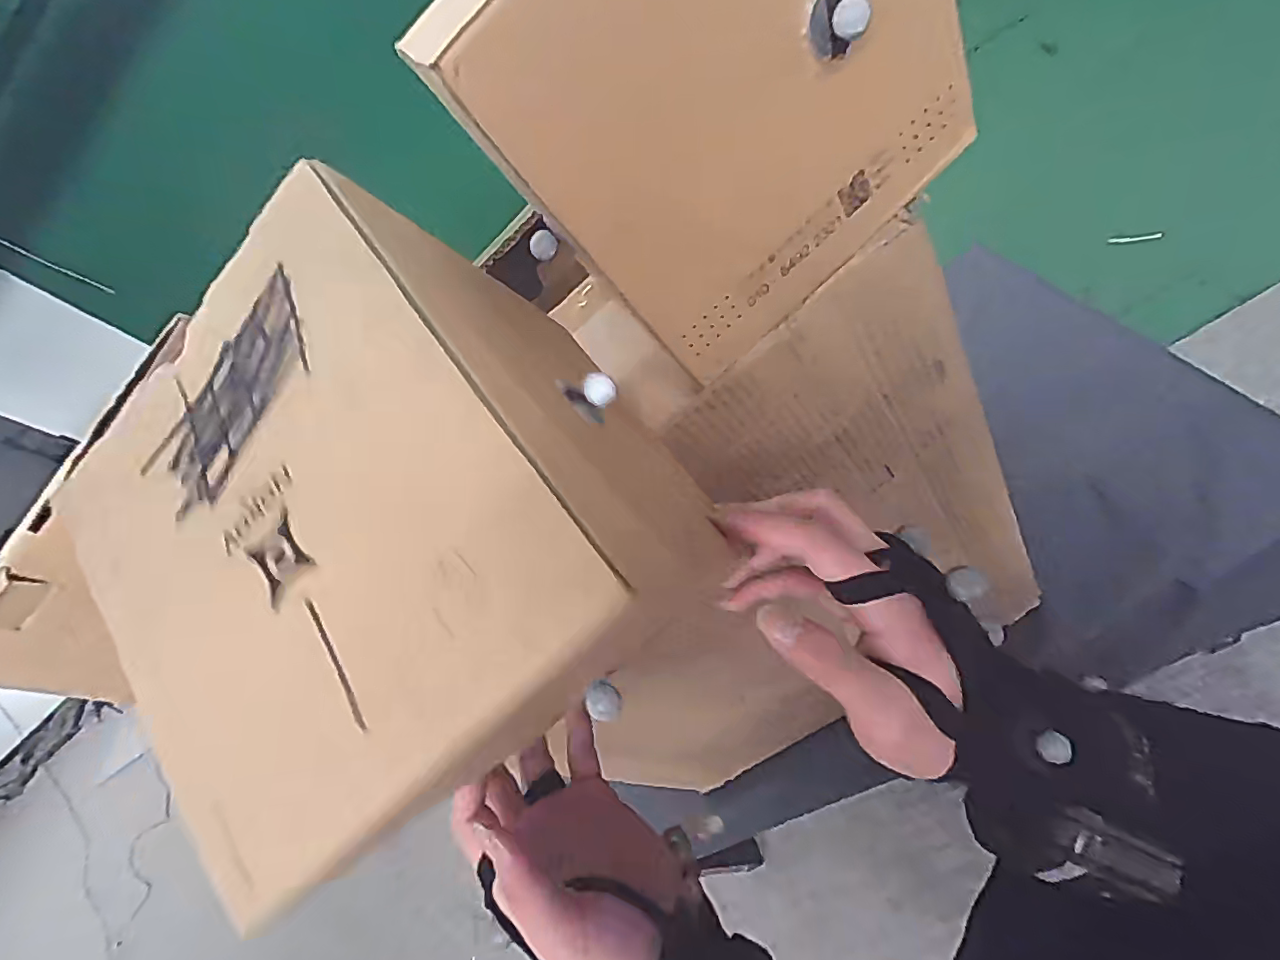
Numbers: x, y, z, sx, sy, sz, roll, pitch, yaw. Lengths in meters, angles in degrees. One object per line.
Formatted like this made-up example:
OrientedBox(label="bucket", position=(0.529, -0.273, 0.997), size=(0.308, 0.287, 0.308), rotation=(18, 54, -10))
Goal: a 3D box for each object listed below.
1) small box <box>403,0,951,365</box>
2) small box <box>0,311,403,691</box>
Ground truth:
OrientedBox(label="small box", position=(0.015, -0.184, 0.263), size=(0.168, 0.176, 0.179), rotation=(-41, 44, 7))
OrientedBox(label="small box", position=(-0.286, 0.028, 0.374), size=(0.168, 0.176, 0.179), rotation=(-37, 46, 16))
